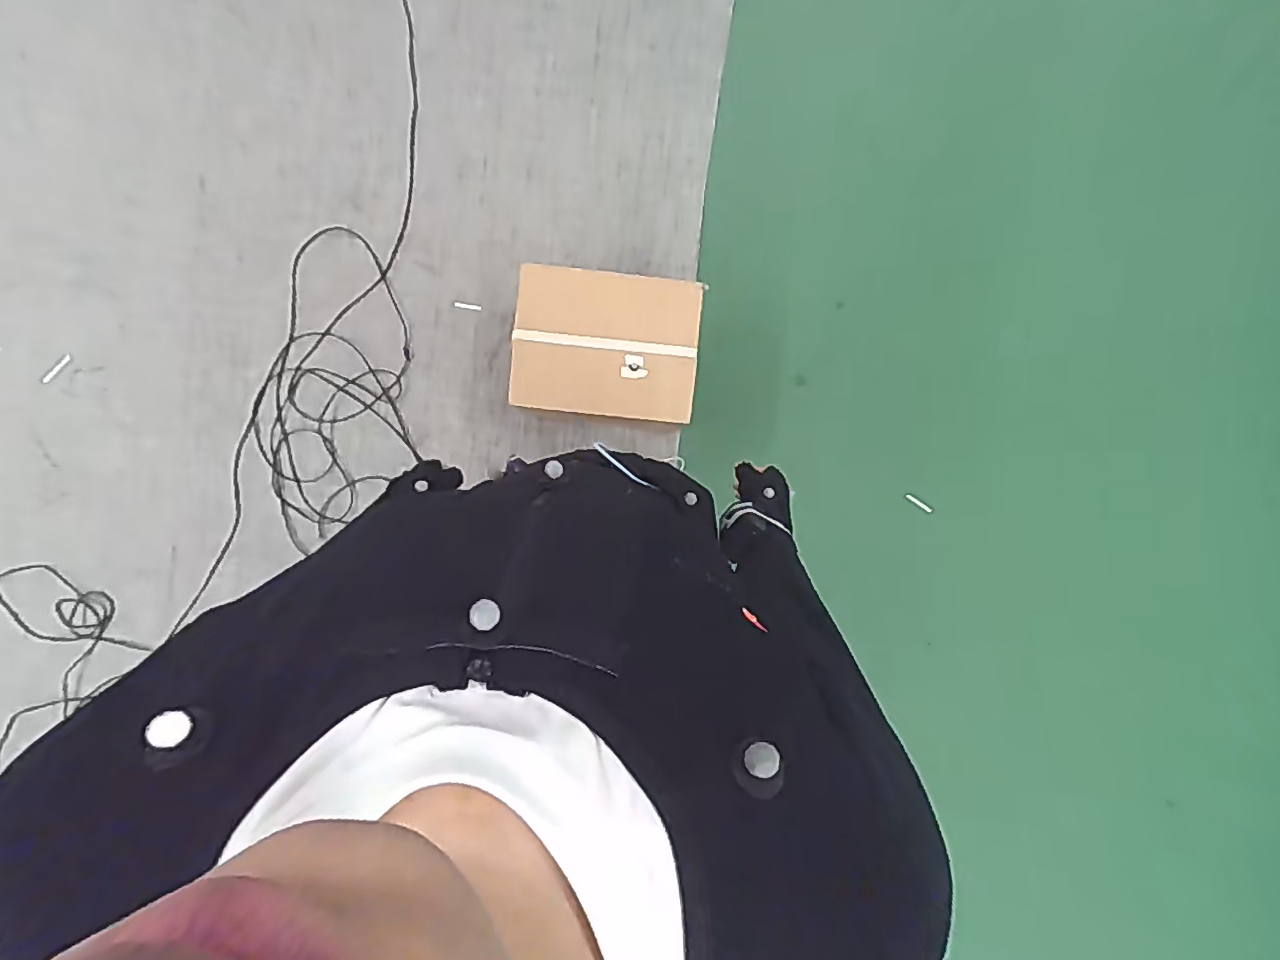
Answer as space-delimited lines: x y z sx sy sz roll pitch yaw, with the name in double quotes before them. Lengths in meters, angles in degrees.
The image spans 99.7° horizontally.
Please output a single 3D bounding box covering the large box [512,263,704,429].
"large box" -0.077 -0.305 1.329 0.408 0.320 0.320 6 92 -3
